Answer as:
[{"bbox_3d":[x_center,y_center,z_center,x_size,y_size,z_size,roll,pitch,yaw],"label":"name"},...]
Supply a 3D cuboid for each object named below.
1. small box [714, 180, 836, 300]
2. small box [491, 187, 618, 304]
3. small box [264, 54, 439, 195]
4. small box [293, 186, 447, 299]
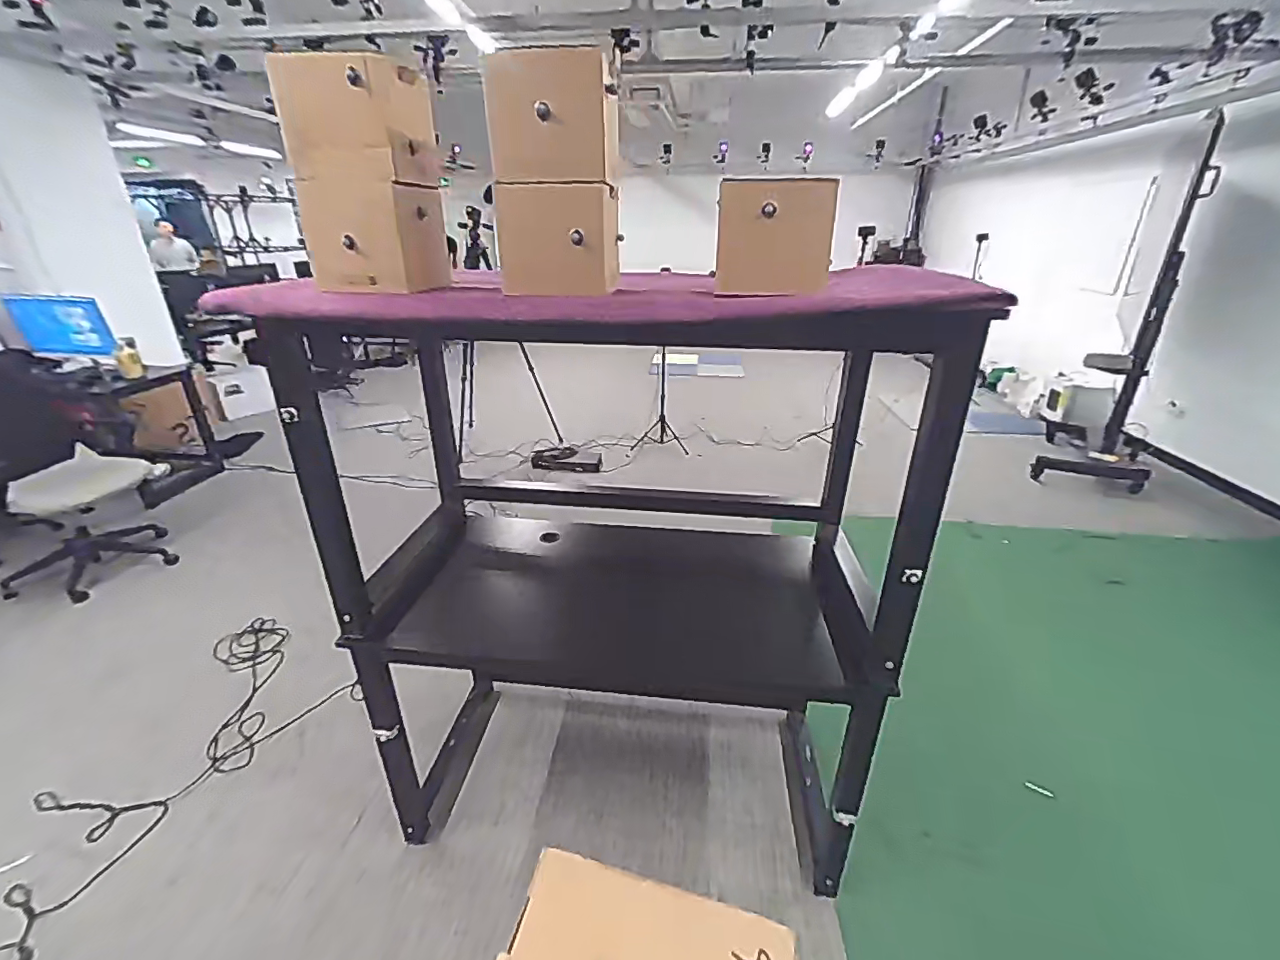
[{"bbox_3d":[0.215,-0.392,0.905,0.179,0.176,0.168,3,22,7],"label":"small box"},{"bbox_3d":[-0.133,-0.397,0.921,0.179,0.176,0.168,2,24,5],"label":"small box"},{"bbox_3d":[-0.450,-0.561,0.875,0.179,0.176,0.168,3,26,4],"label":"small box"},{"bbox_3d":[-0.453,-0.413,0.944,0.168,0.176,0.179,4,25,4],"label":"small box"}]
